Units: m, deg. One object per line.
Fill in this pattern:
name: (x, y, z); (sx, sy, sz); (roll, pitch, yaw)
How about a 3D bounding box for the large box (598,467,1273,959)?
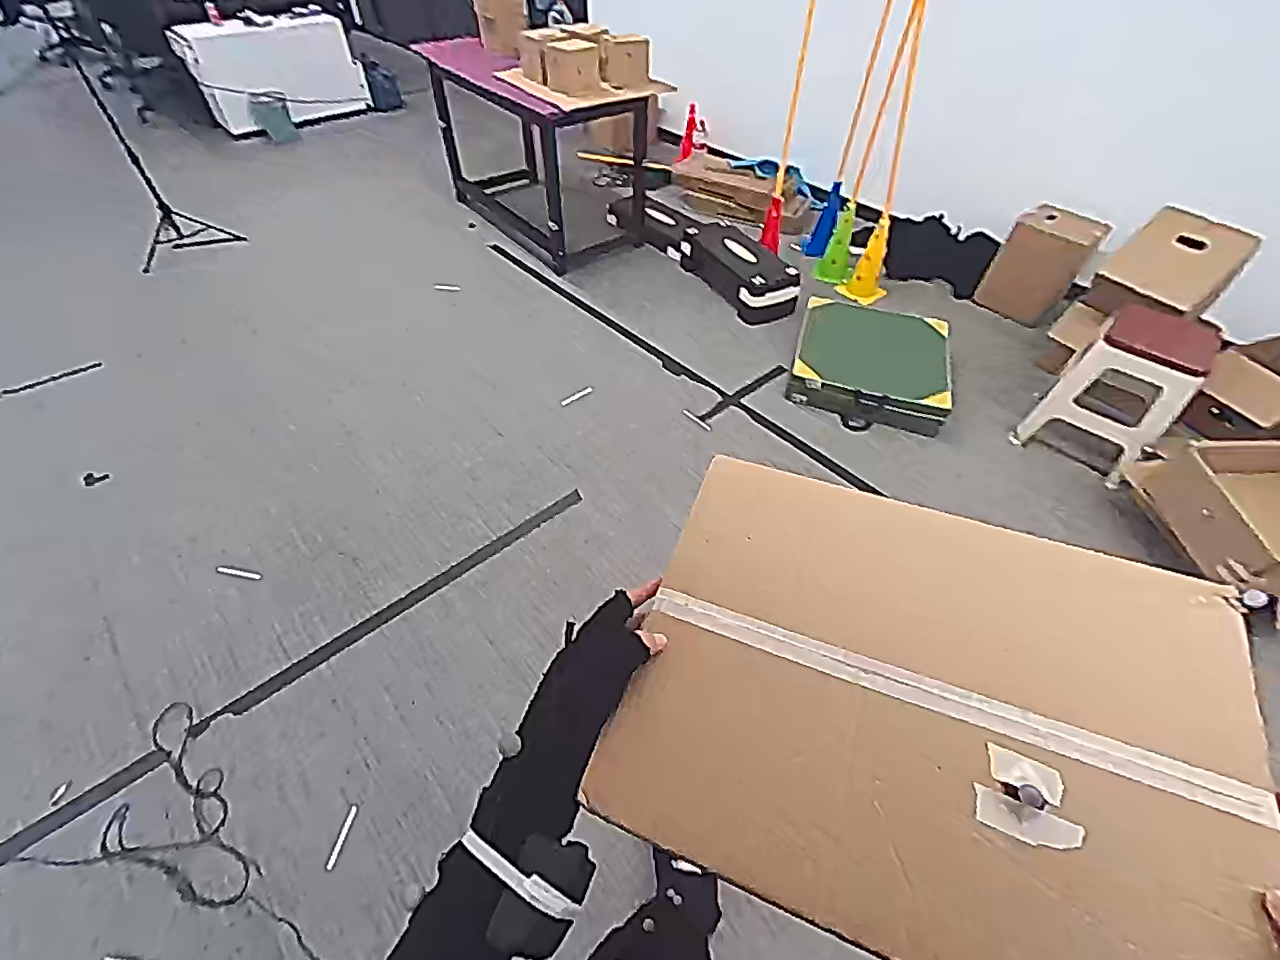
large box: (0.219, 0.237, 0.525); (0.408, 0.320, 0.320); (16, 60, 17)
